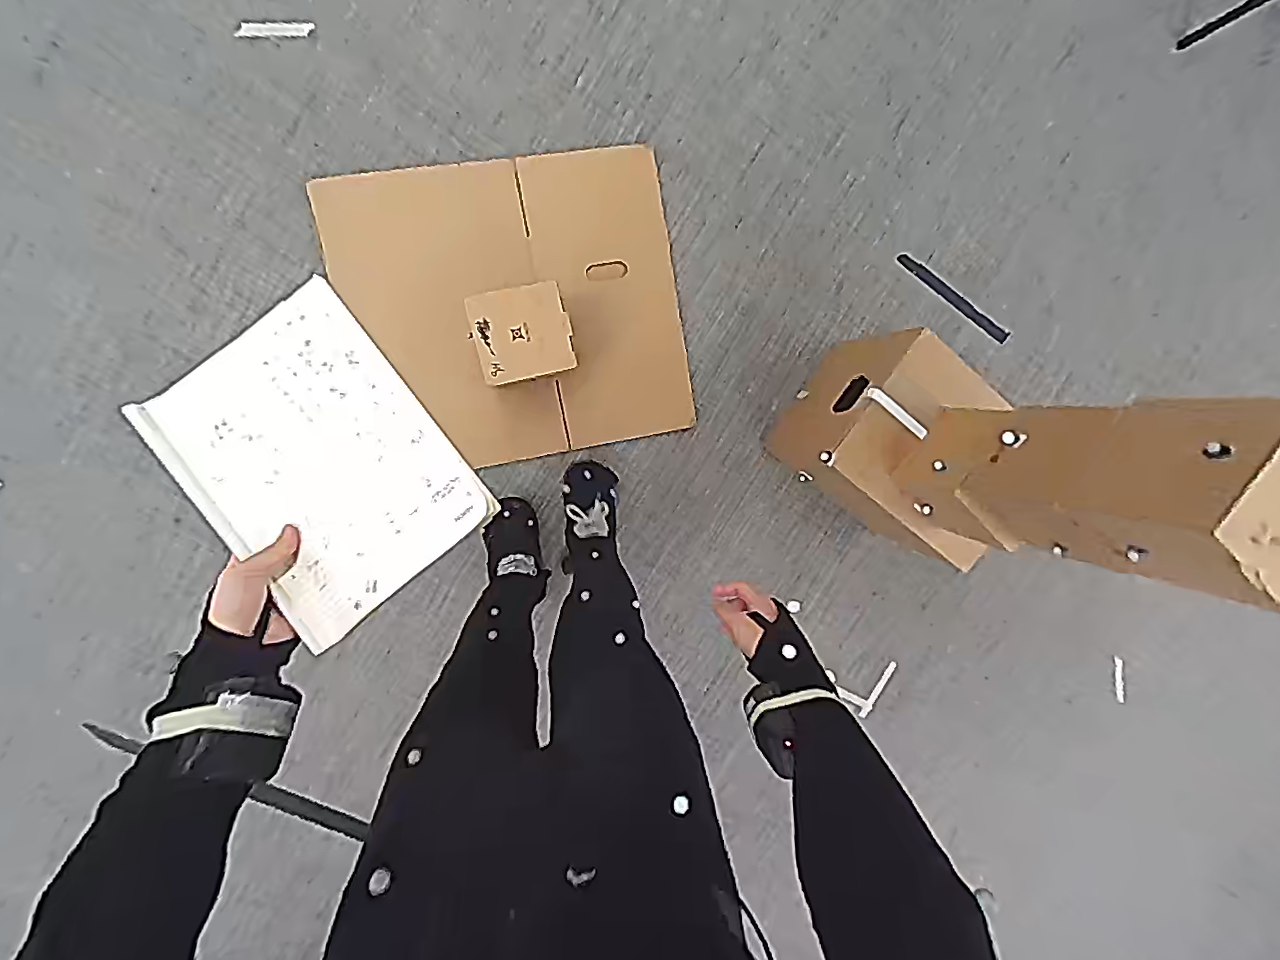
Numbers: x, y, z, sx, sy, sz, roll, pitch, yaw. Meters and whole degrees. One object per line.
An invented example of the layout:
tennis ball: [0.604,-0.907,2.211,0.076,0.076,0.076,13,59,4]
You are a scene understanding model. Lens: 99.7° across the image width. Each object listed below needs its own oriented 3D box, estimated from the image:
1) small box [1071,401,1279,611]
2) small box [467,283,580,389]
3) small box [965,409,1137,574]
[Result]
small box: [0.673,0.019,0.637,0.168,0.176,0.179,37,90,-13]
small box: [-0.230,-0.280,1.071,0.179,0.176,0.168,-15,102,-10]
small box: [0.638,0.006,0.798,0.179,0.176,0.168,35,91,-12]
